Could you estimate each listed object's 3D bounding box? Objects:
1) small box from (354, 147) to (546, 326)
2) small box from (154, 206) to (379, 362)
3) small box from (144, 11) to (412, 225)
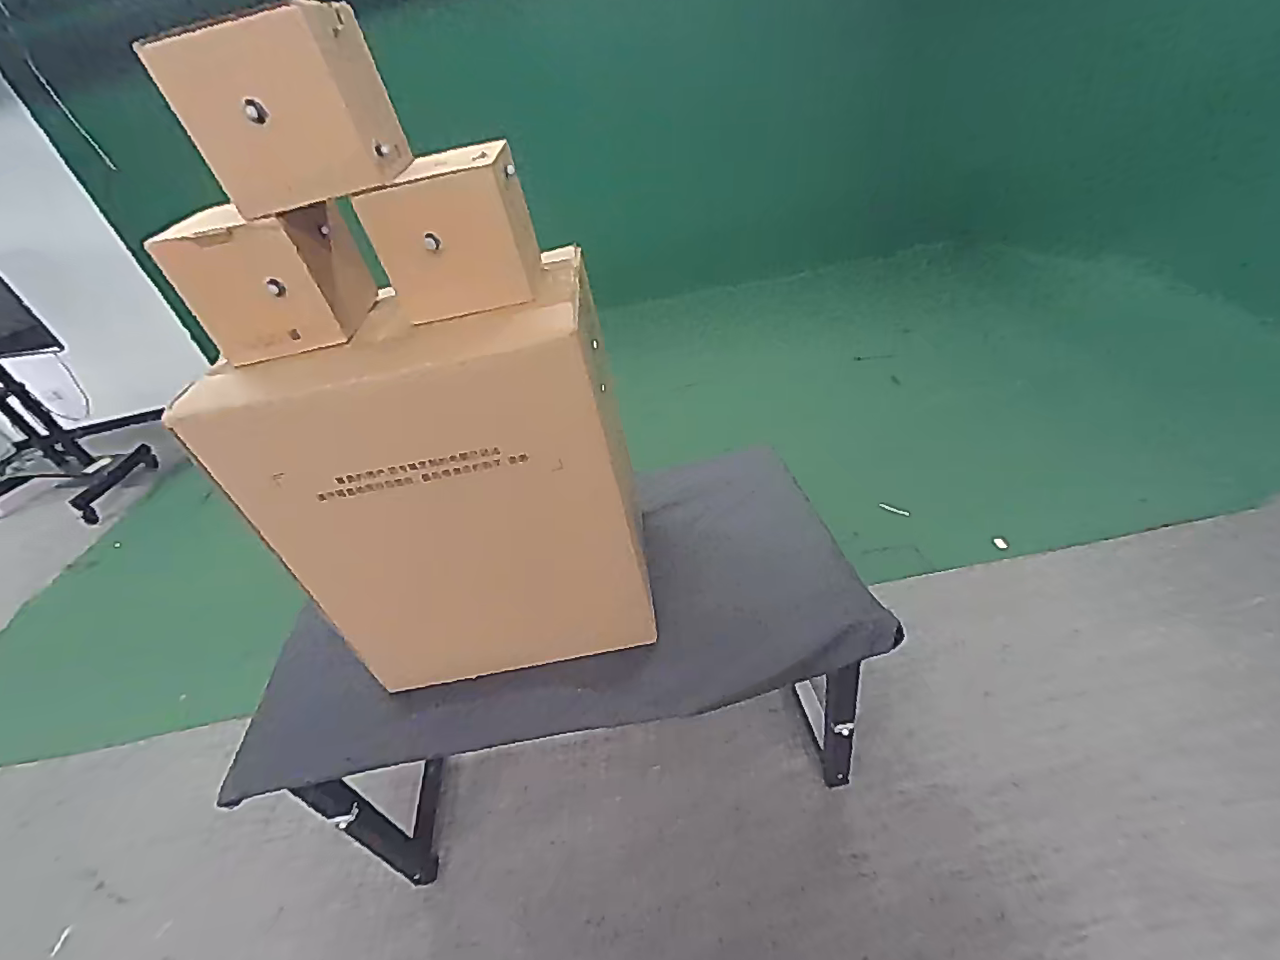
[{"bbox_3d":[-0.243,-0.330,0.742,0.179,0.176,0.168,-12,40,4],"label":"small box"},{"bbox_3d":[-0.494,-0.277,0.753,0.168,0.176,0.179,-11,38,1],"label":"small box"},{"bbox_3d":[-0.400,-0.426,0.643,0.179,0.176,0.168,-13,40,3],"label":"small box"}]
